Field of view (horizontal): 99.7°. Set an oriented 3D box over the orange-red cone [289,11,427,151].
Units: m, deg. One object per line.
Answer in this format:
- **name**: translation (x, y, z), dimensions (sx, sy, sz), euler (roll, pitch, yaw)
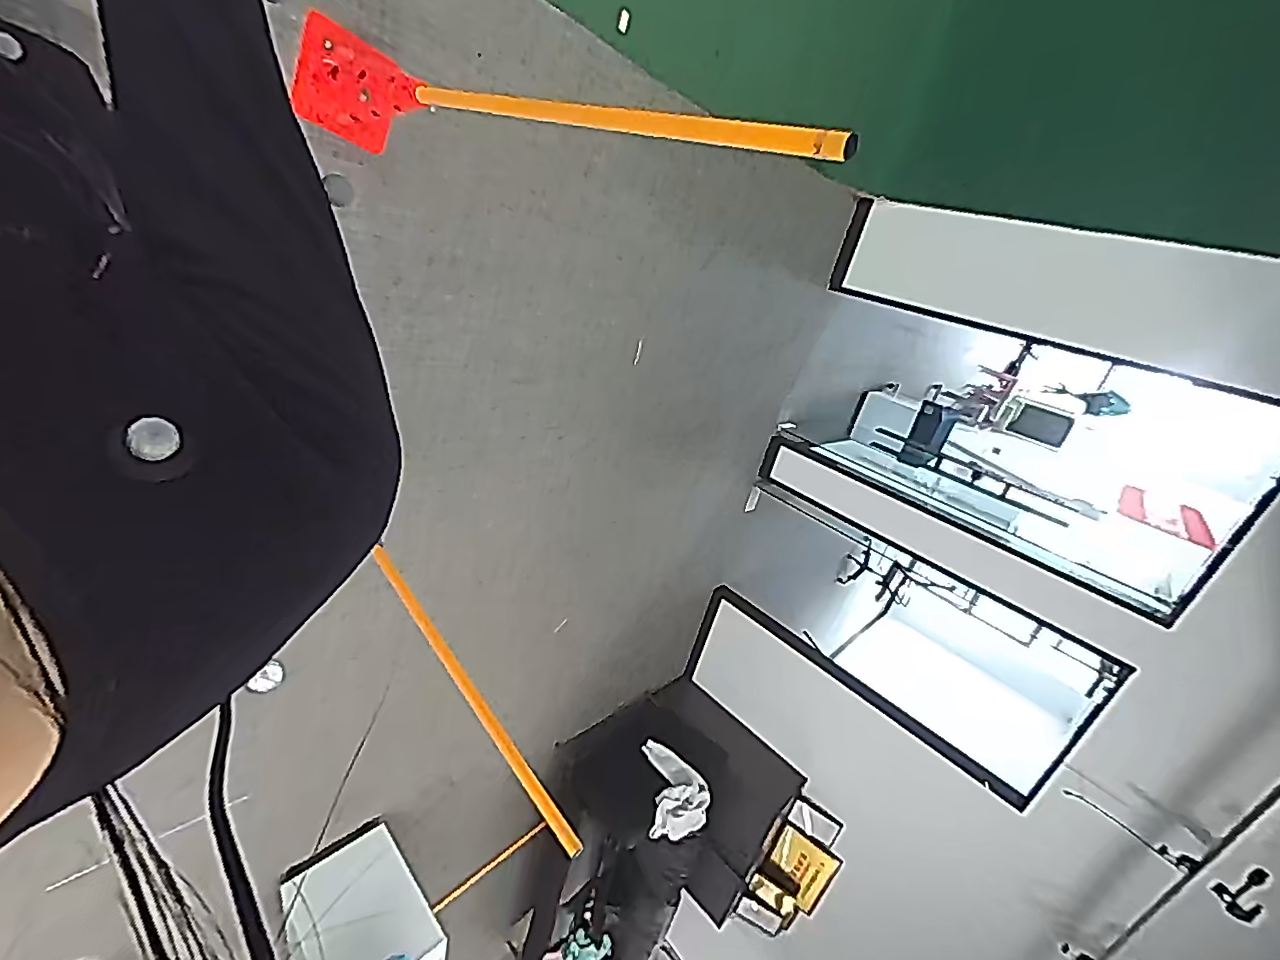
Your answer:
- **orange-red cone**: translation (-0.523, -0.783, 1.083), dimensions (0.198, 0.360, 0.199), euler (7, 112, -52)
